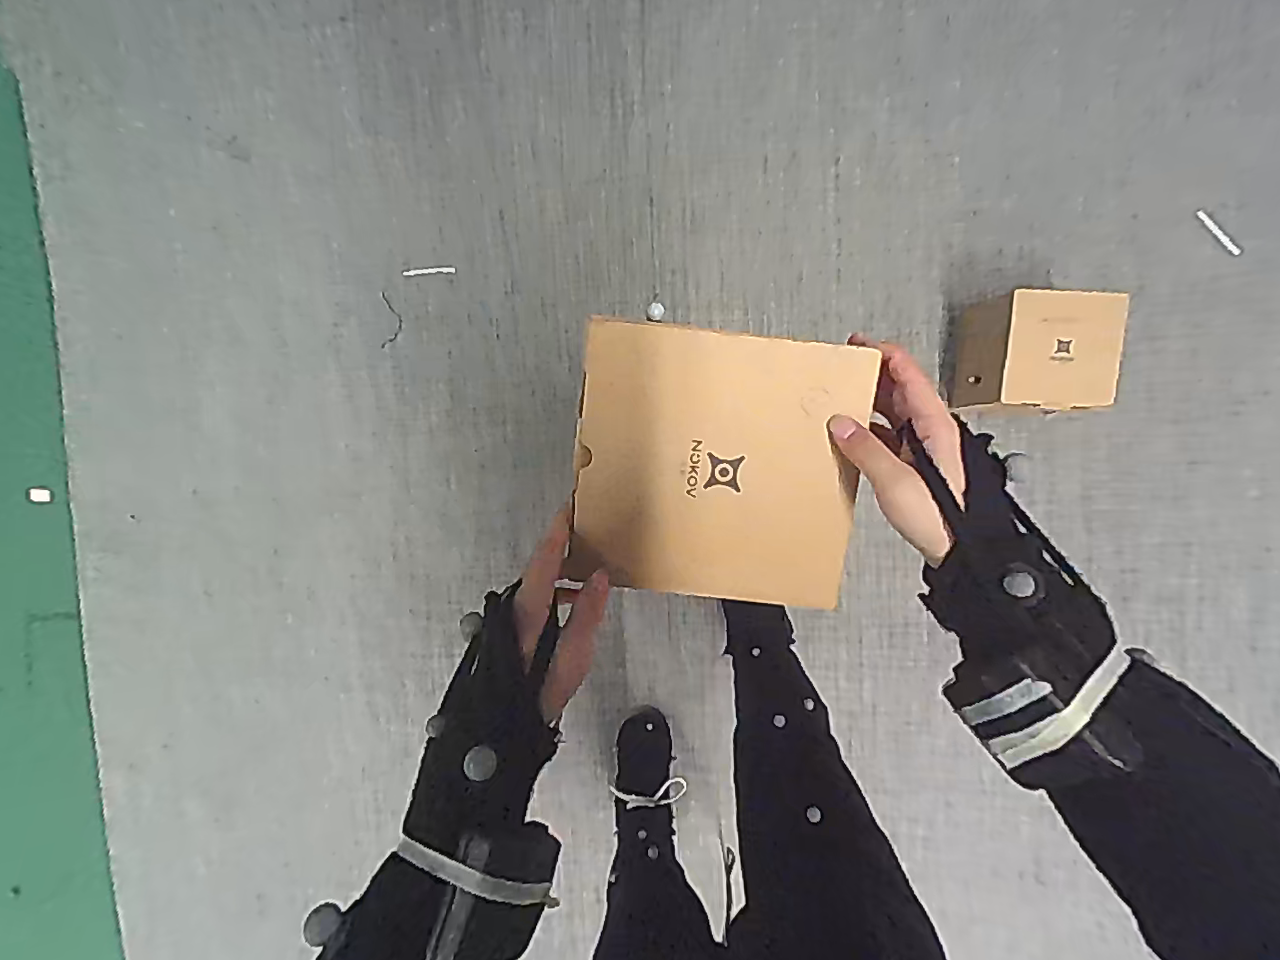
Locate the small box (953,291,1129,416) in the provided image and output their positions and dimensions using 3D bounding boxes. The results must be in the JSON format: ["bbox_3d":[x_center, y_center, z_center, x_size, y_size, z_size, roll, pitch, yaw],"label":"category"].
[{"bbox_3d":[0.644,-0.199,0.893,0.168,0.176,0.179,4,94,5],"label":"small box"}]
